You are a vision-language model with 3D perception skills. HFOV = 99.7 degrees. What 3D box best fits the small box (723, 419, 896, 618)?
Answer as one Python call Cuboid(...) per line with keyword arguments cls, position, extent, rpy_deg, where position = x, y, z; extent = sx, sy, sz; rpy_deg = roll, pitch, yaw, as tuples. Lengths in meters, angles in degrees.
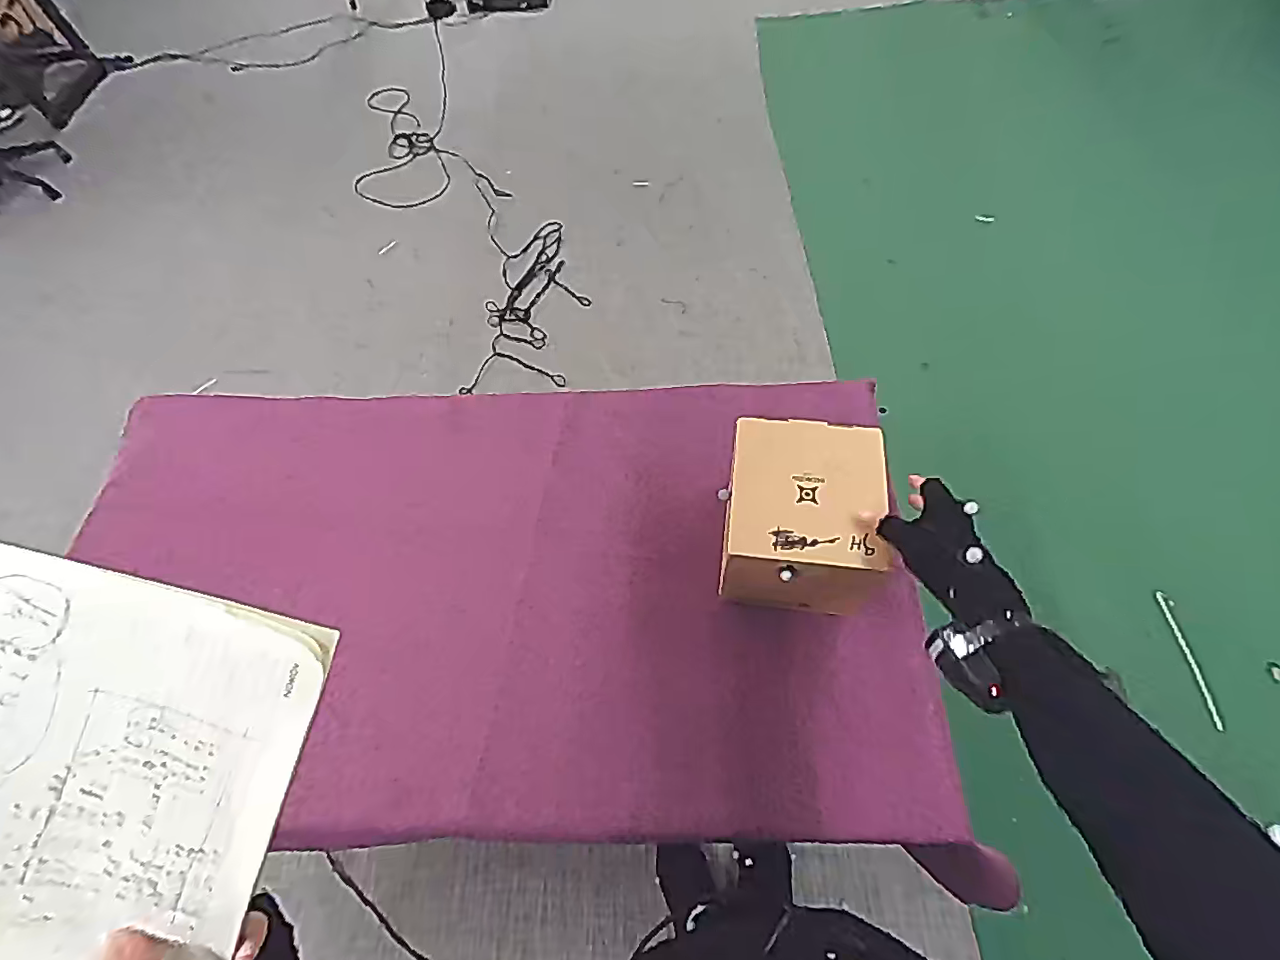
Cuboid(cls="small box", position=(0.192, 0.050, 0.652), extent=(0.168, 0.176, 0.179), rpy_deg=(6, 62, 9))
